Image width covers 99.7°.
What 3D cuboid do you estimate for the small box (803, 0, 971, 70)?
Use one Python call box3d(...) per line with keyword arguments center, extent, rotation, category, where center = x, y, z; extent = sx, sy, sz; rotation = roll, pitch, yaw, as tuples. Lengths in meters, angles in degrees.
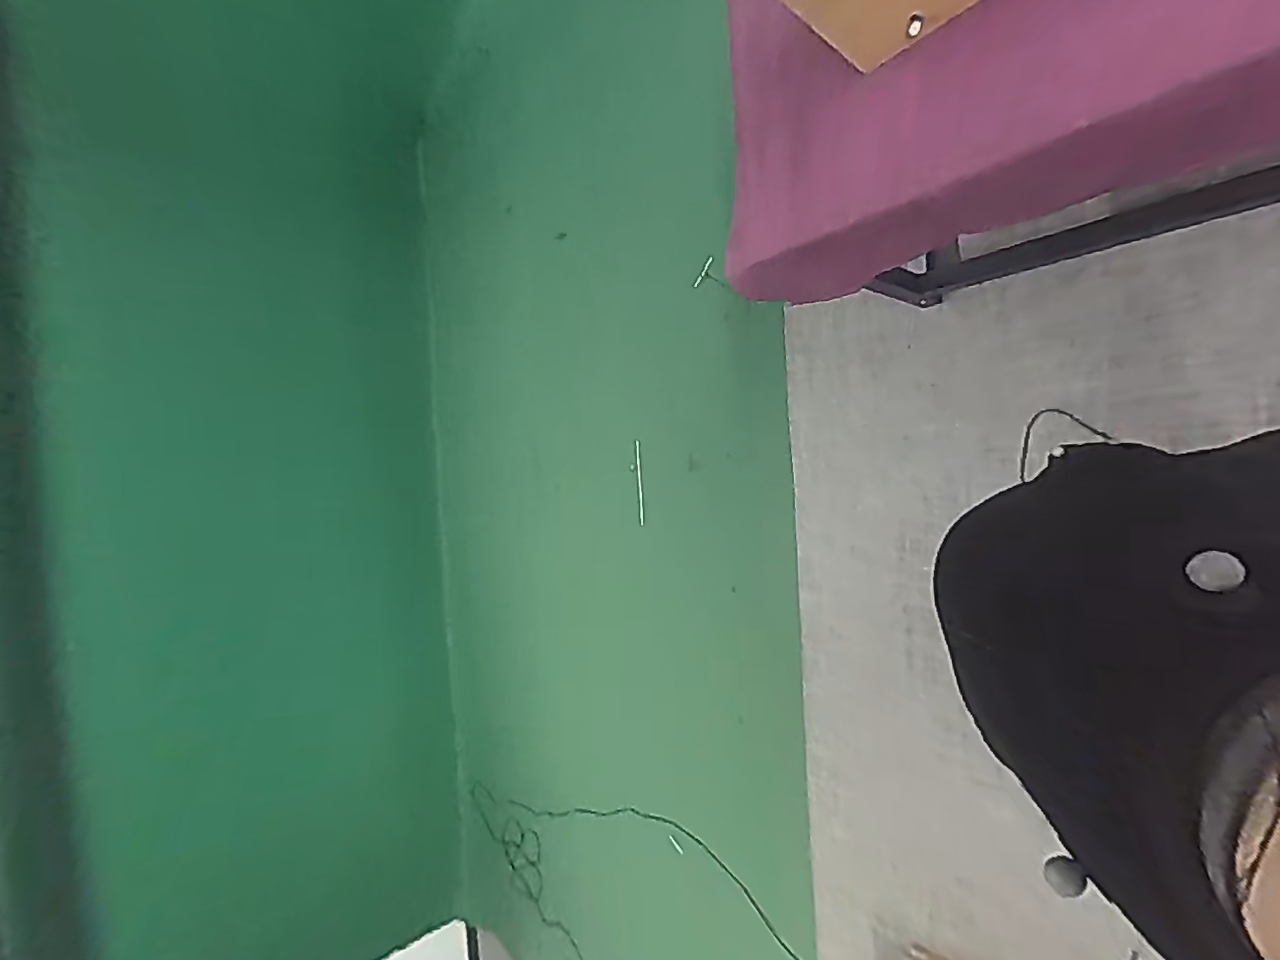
box3d(center=(0.324, -0.690, 0.698), extent=(0.179, 0.176, 0.168), rotation=(-5, 90, 49), category="small box")
